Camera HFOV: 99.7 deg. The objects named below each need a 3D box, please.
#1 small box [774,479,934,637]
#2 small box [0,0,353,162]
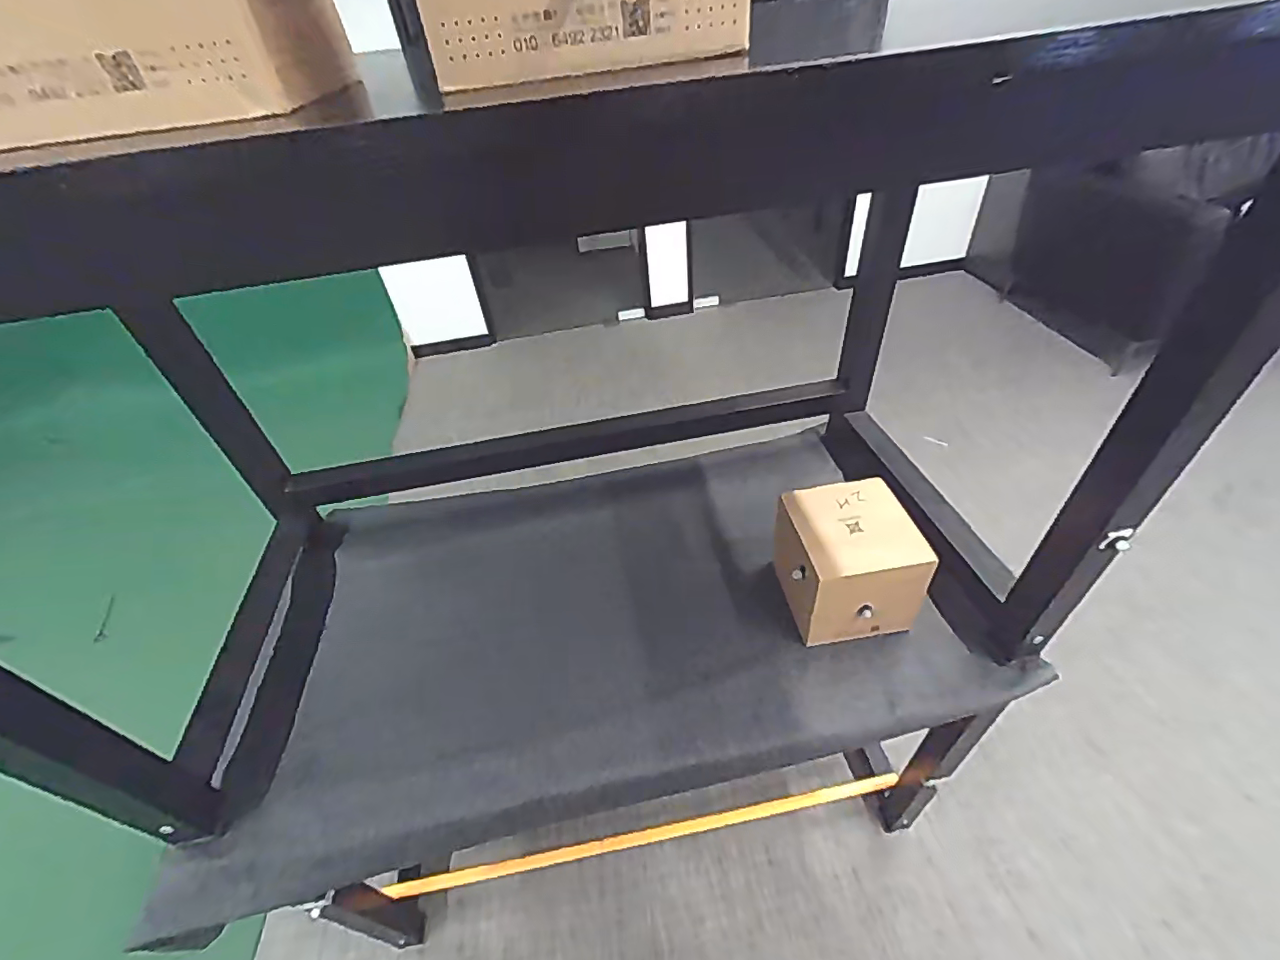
[{"bbox_3d":[0.315,0.126,0.836,0.168,0.176,0.179,-8,41,-2],"label":"small box"},{"bbox_3d":[-0.279,-0.278,0.278,0.168,0.176,0.179,-10,42,-3],"label":"small box"}]
